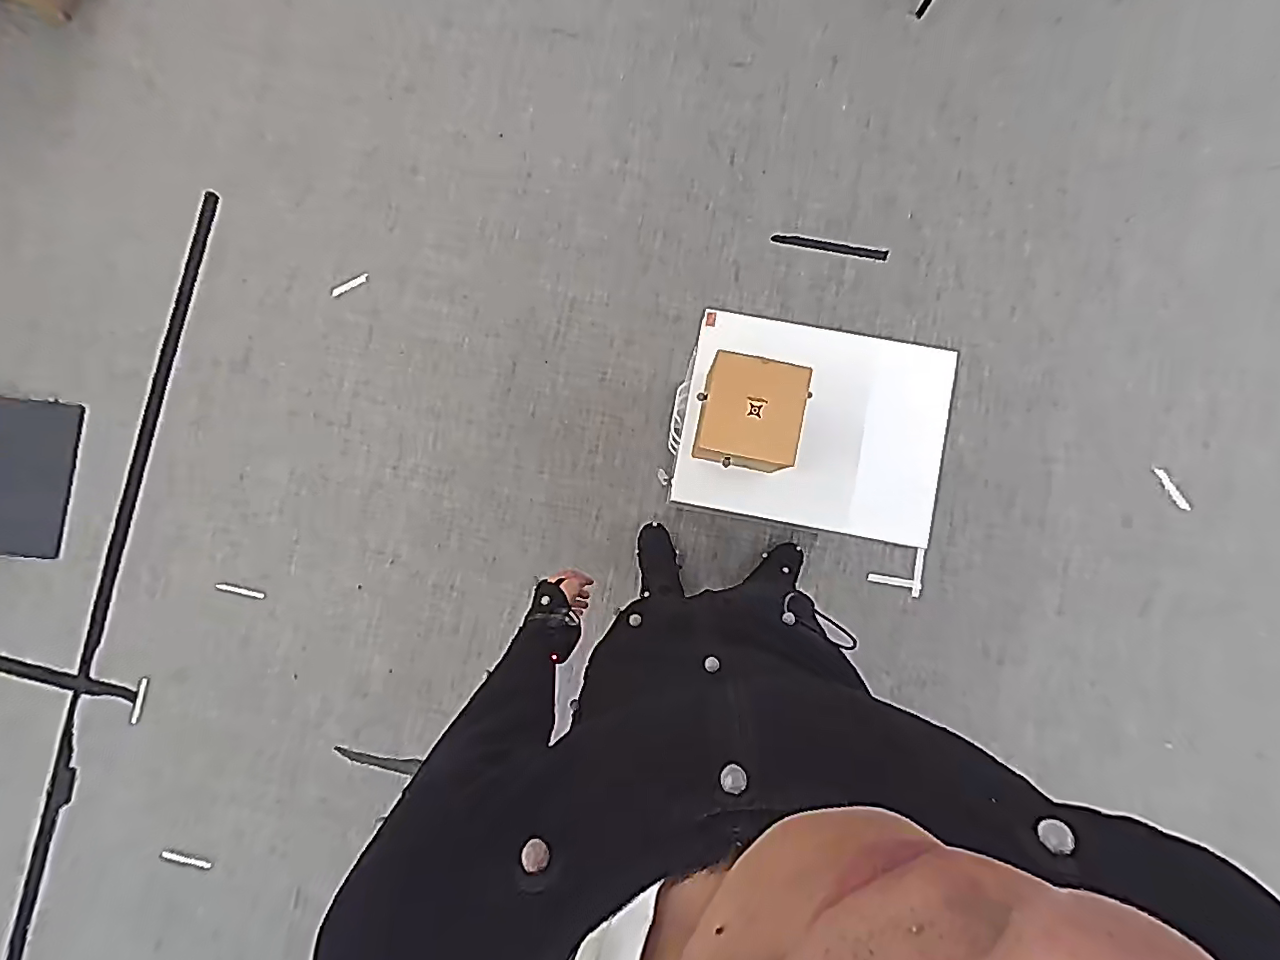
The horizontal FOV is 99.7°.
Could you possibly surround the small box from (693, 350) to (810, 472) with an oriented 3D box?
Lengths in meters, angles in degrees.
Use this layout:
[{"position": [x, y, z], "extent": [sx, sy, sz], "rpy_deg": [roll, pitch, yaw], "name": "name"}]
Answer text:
[{"position": [0.195, -0.117, 0.993], "extent": [0.168, 0.176, 0.179], "rpy_deg": [12, 86, 2], "name": "small box"}]
